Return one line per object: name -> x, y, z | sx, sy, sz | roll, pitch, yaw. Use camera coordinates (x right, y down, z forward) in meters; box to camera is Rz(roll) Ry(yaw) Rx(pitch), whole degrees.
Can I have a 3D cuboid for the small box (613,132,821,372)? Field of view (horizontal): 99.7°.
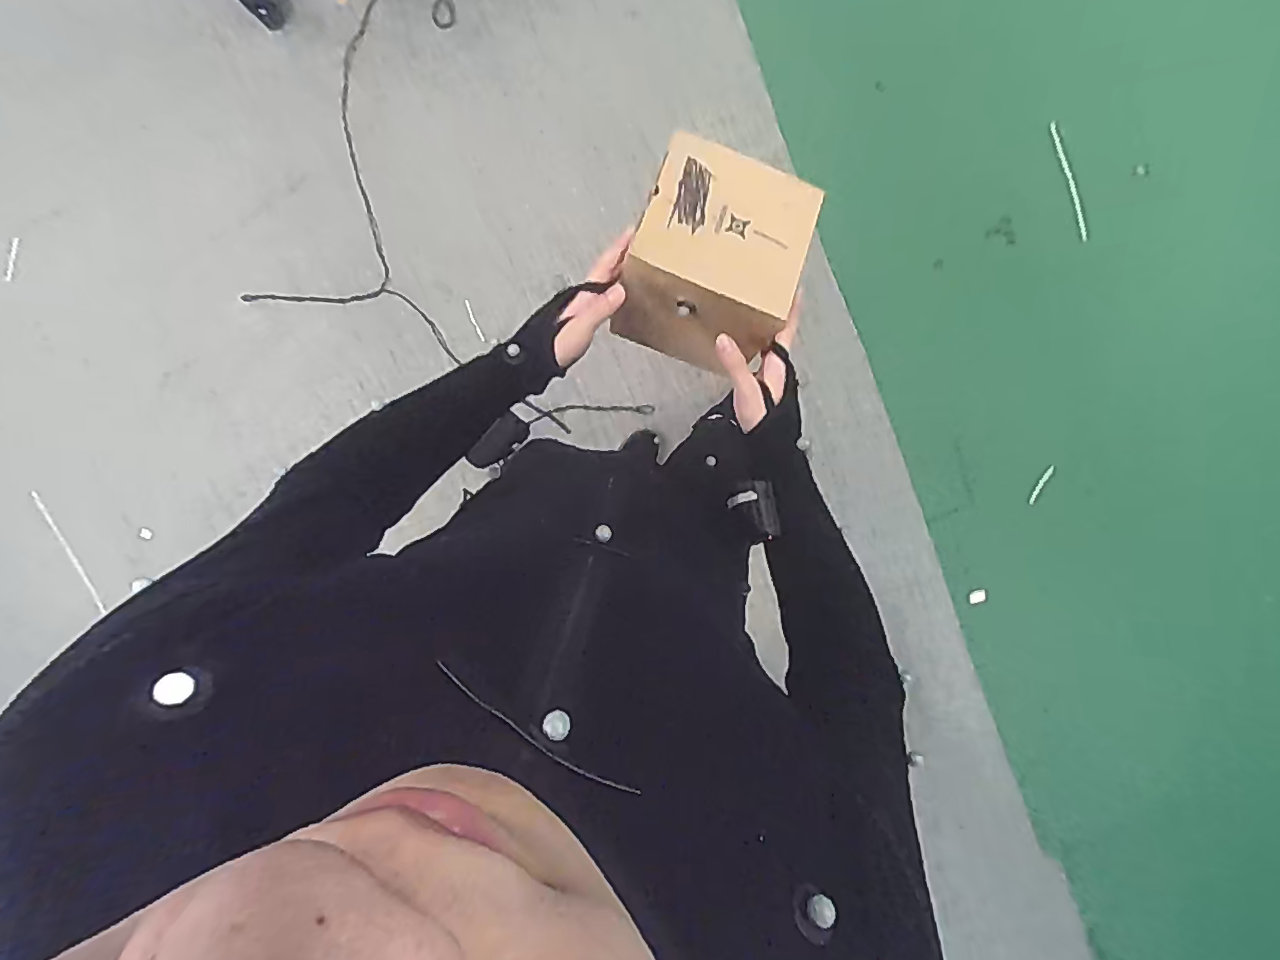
small box -> 0.077, -0.249, 0.634 | 0.179, 0.176, 0.168 | 20, 76, -6
